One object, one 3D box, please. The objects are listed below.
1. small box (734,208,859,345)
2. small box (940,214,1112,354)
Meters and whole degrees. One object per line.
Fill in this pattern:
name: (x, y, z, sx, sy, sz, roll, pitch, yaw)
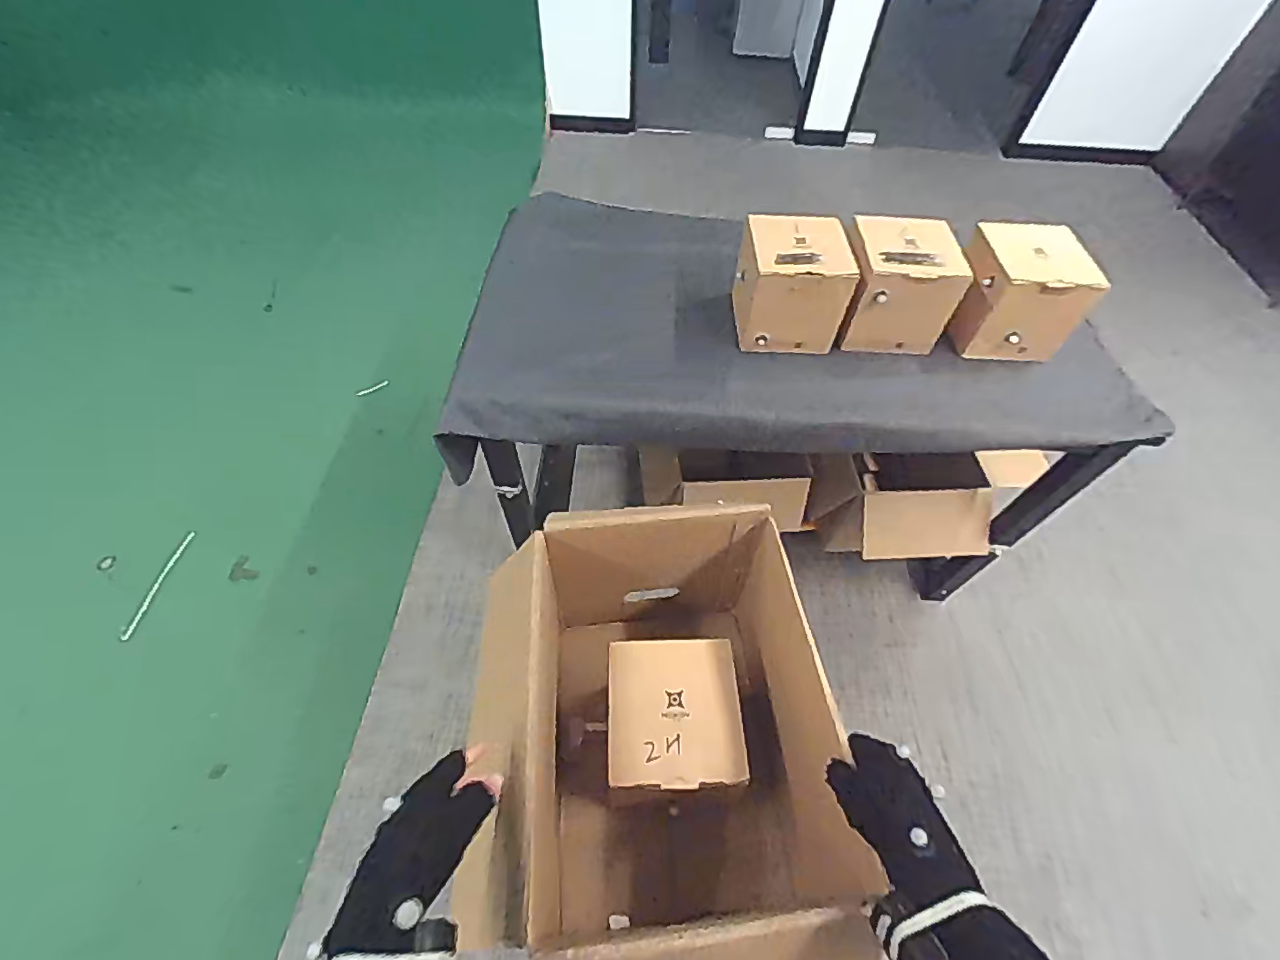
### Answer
small box: (0.270, -0.363, 0.976, 0.168, 0.176, 0.179, 2, 55, -2)
small box: (0.682, -0.356, 0.986, 0.168, 0.176, 0.179, 2, 56, 0)
